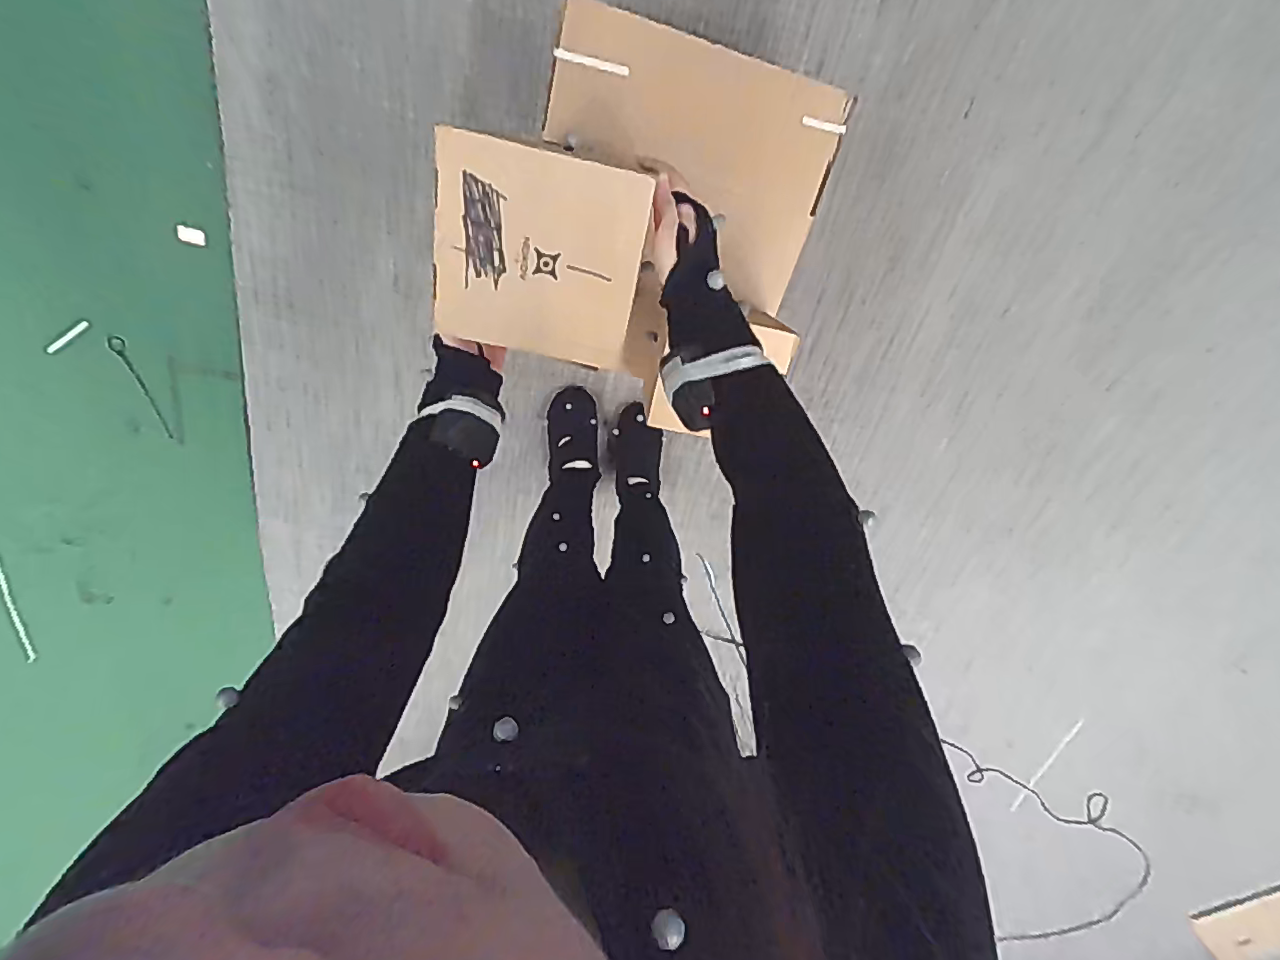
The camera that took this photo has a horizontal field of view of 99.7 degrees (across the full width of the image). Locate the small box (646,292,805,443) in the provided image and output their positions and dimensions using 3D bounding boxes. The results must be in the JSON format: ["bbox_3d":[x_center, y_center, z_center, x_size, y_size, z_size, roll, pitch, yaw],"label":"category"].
[{"bbox_3d":[0.113,-0.173,0.804,0.179,0.176,0.168,10,115,-8],"label":"small box"}]

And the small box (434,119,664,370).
[{"bbox_3d":[-0.082,-0.227,0.522,0.179,0.176,0.168,11,121,-6],"label":"small box"}]
